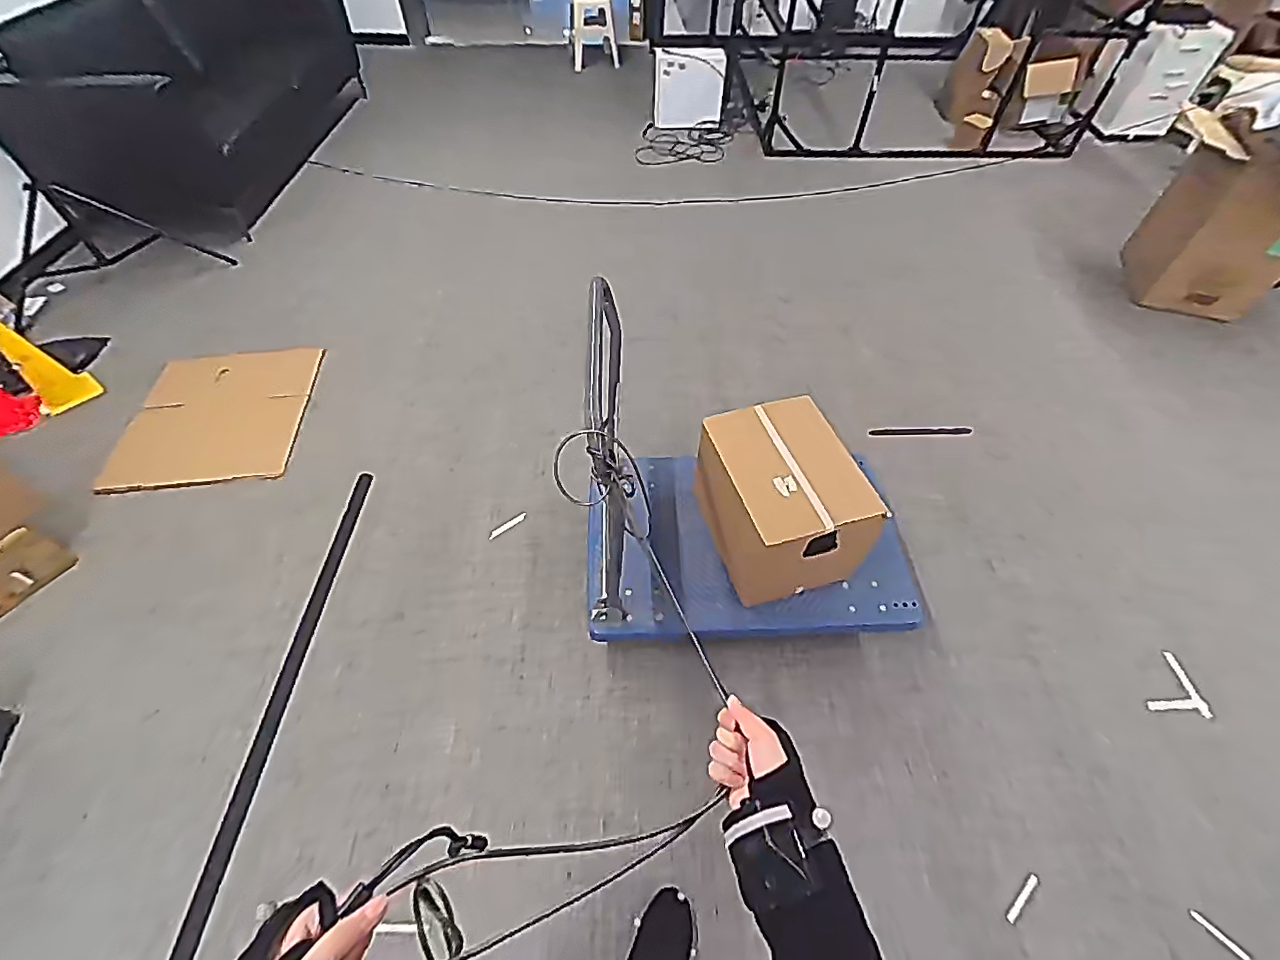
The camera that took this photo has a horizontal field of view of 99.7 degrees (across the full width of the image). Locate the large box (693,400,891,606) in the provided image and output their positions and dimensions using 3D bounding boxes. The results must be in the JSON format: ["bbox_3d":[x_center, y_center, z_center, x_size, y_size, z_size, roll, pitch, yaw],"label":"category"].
[{"bbox_3d":[0.361,0.057,1.419,0.320,0.320,0.408,-14,55,-10],"label":"large box"}]
